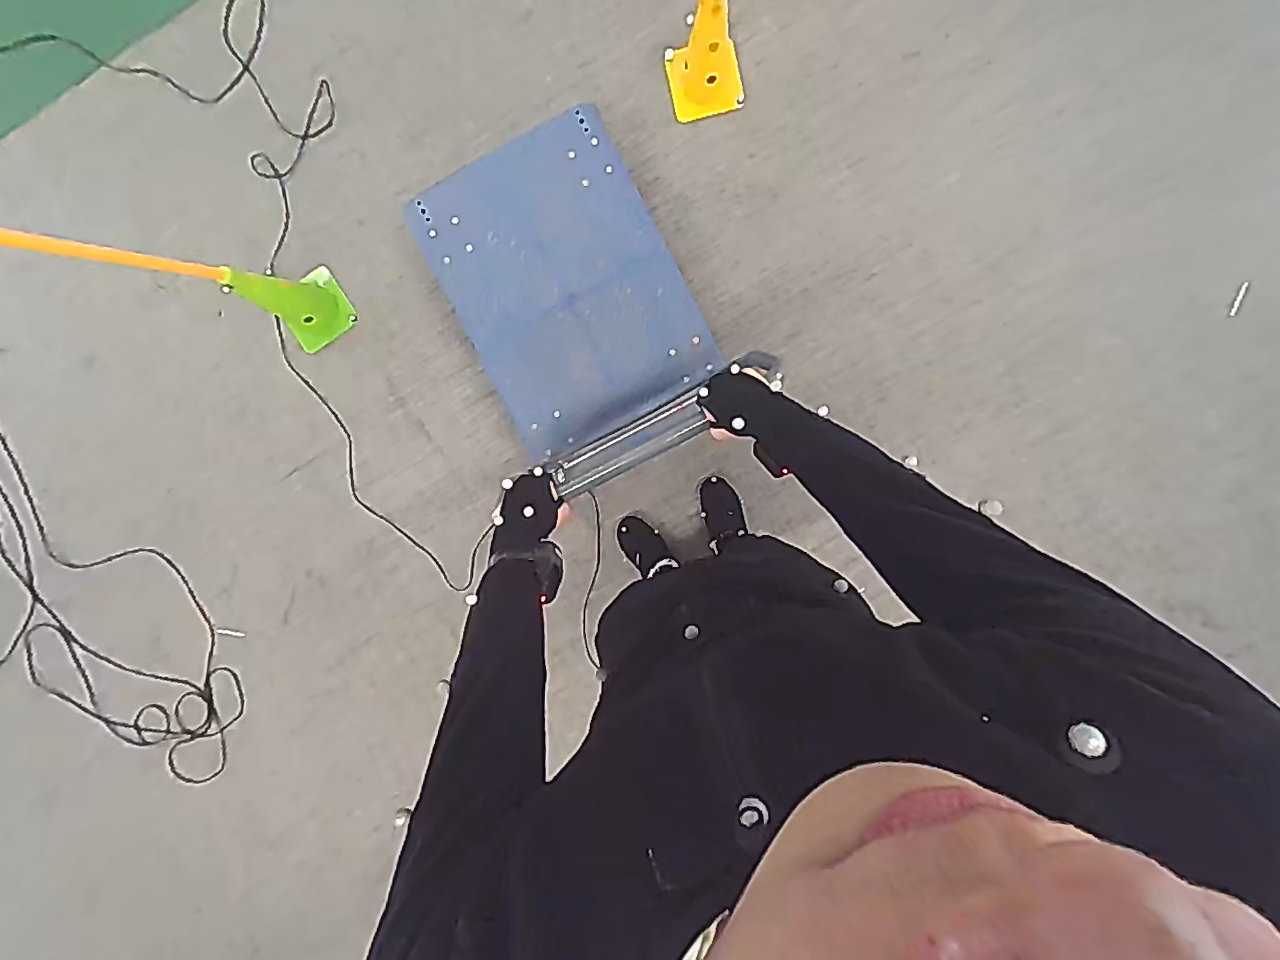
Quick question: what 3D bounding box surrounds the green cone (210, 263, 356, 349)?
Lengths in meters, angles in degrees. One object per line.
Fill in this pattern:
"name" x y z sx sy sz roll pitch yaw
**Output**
"green cone" -0.994 -0.514 1.467 0.202 0.368 0.200 -33 91 6
